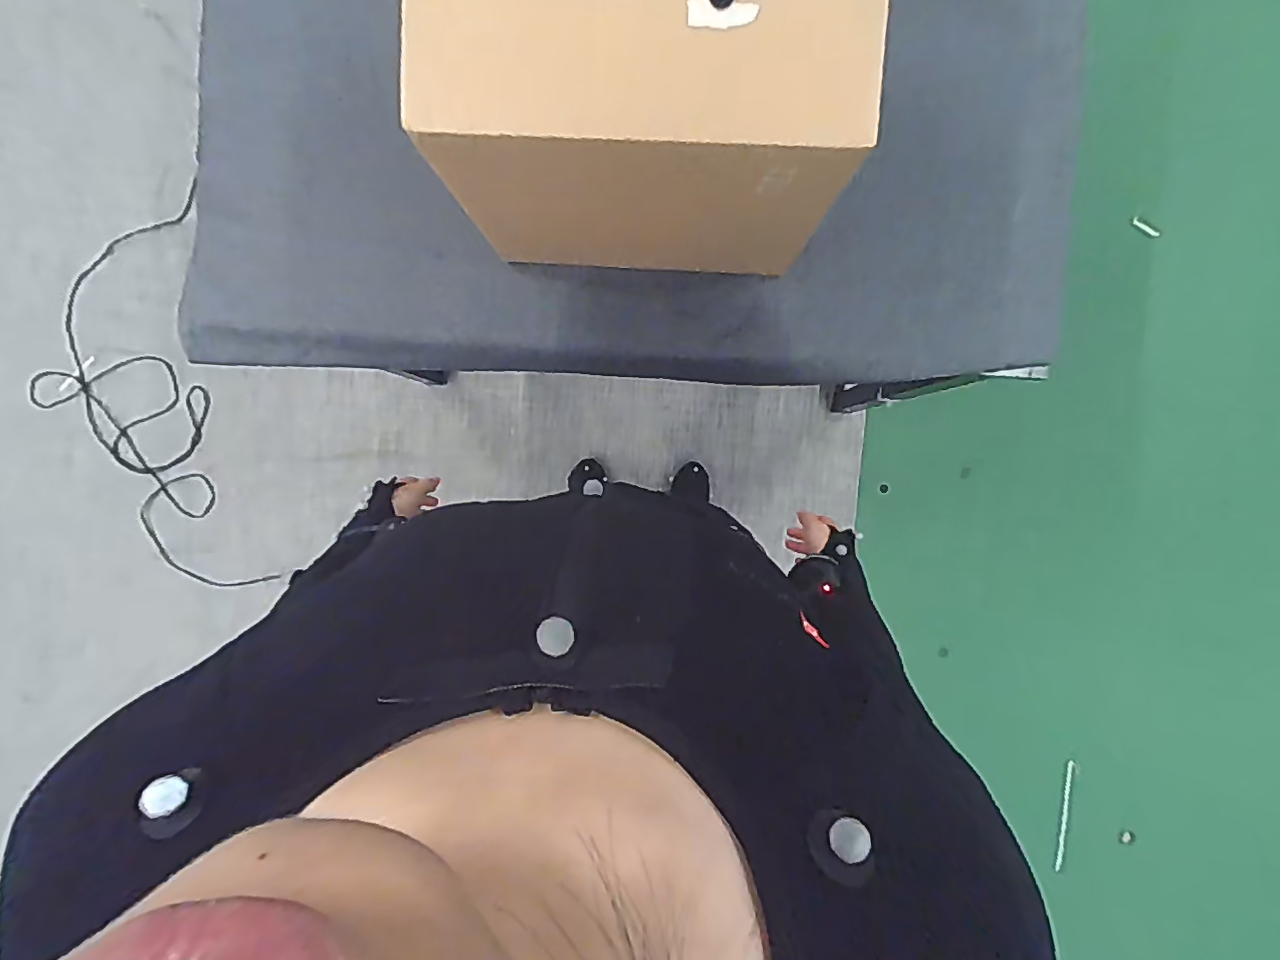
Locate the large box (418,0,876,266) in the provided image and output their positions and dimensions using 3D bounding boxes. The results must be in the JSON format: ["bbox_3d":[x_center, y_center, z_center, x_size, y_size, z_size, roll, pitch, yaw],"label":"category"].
[{"bbox_3d":[0.008,-0.454,0.615,0.408,0.320,0.320,3,93,1],"label":"large box"}]
